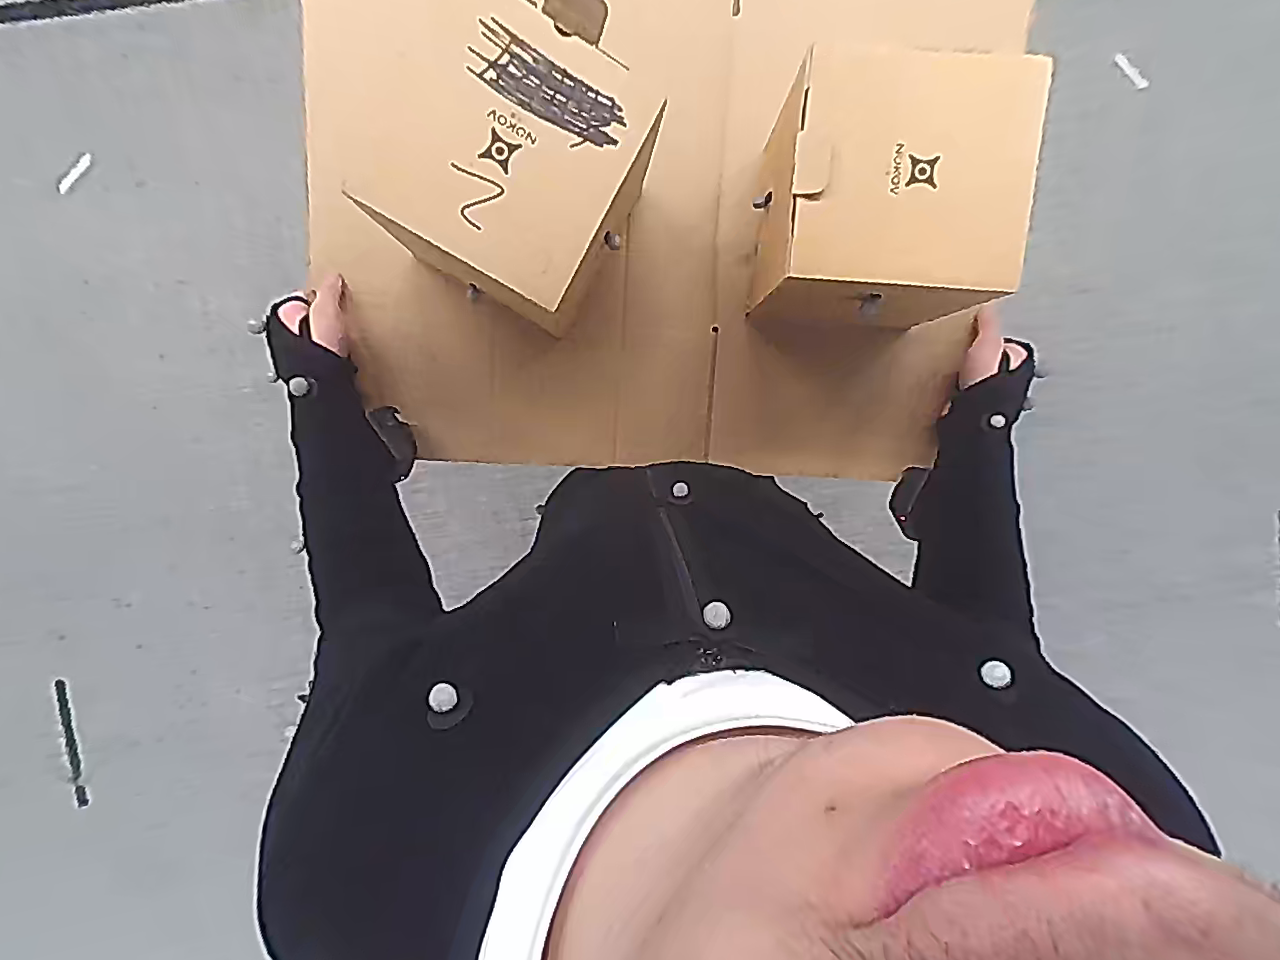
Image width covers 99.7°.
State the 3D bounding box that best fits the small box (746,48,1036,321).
[{"bbox_3d":[0.204,-0.245,0.492,0.179,0.176,0.168,4,97,1],"label":"small box"}]
